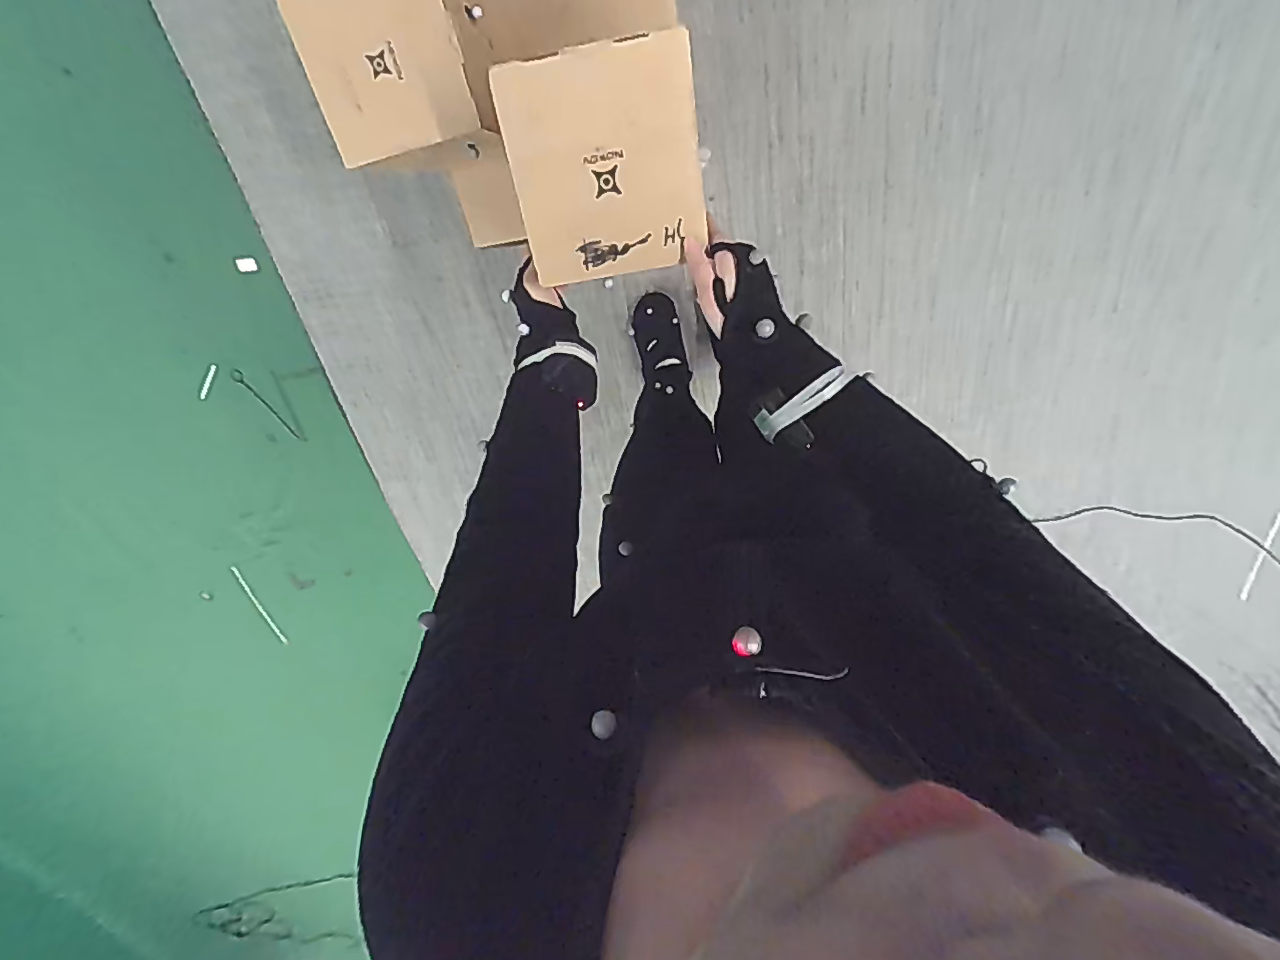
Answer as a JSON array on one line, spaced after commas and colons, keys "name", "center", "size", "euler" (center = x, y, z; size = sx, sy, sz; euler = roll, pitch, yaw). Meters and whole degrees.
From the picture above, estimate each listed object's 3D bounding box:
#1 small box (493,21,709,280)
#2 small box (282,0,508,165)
[{"name": "small box", "center": [-0.026, -0.313, 0.539], "size": [0.168, 0.176, 0.179], "euler": [-6, 119, 7]}, {"name": "small box", "center": [-0.266, -0.489, 0.646], "size": [0.179, 0.176, 0.168], "euler": [-8, 117, 10]}]
